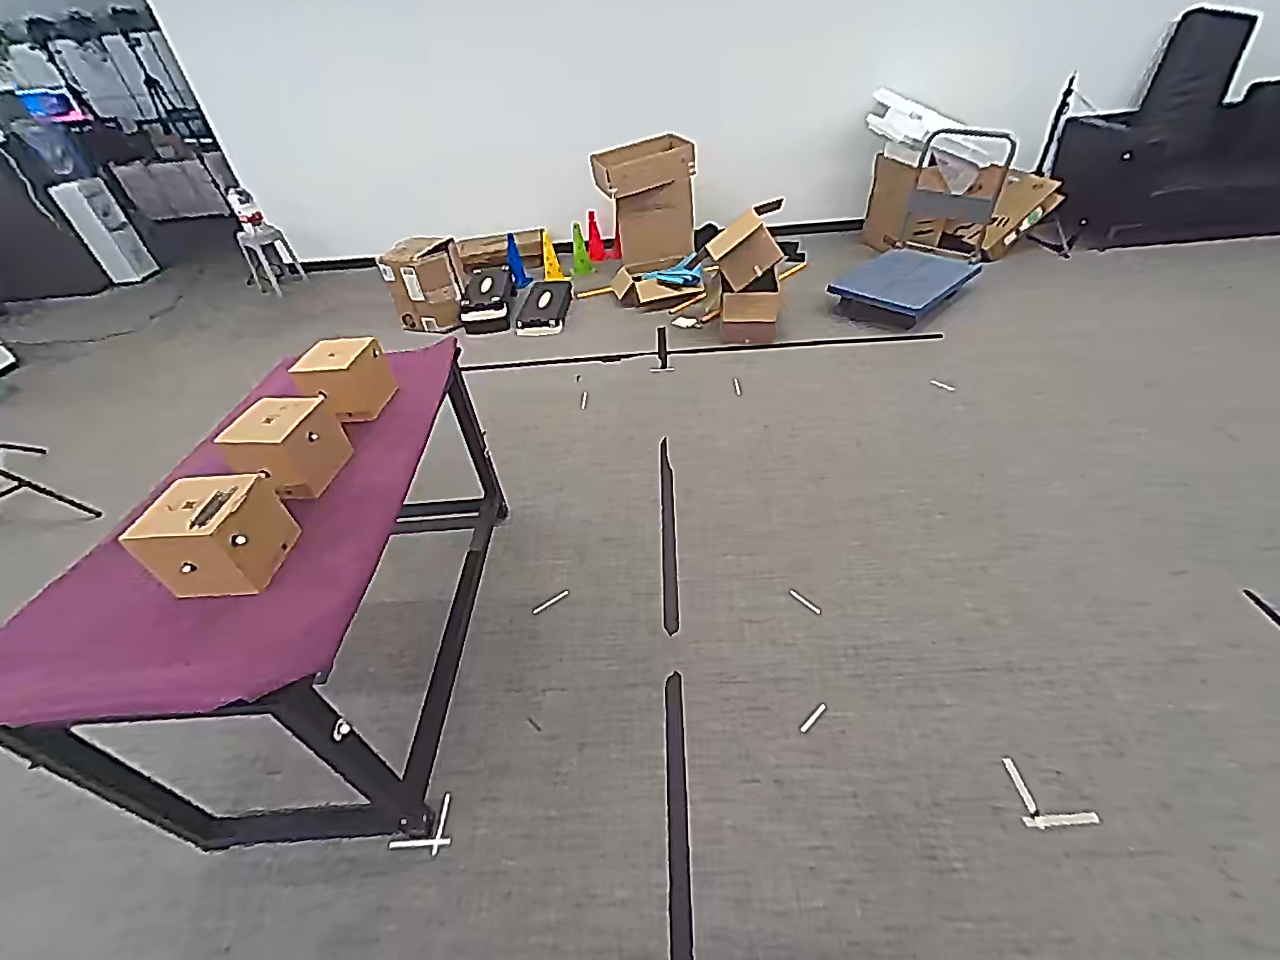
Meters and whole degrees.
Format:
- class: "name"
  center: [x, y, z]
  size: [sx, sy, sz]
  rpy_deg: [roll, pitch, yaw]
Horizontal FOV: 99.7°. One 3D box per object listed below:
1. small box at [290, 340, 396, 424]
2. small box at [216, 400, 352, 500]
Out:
- class: "small box"
  center: [-0.802, -0.264, 1.486]
  size: [0.168, 0.176, 0.179]
  rpy_deg: [-3, 40, 6]
- class: "small box"
  center: [-0.812, -0.068, 1.259]
  size: [0.168, 0.176, 0.179]
  rpy_deg: [1, 41, 8]
